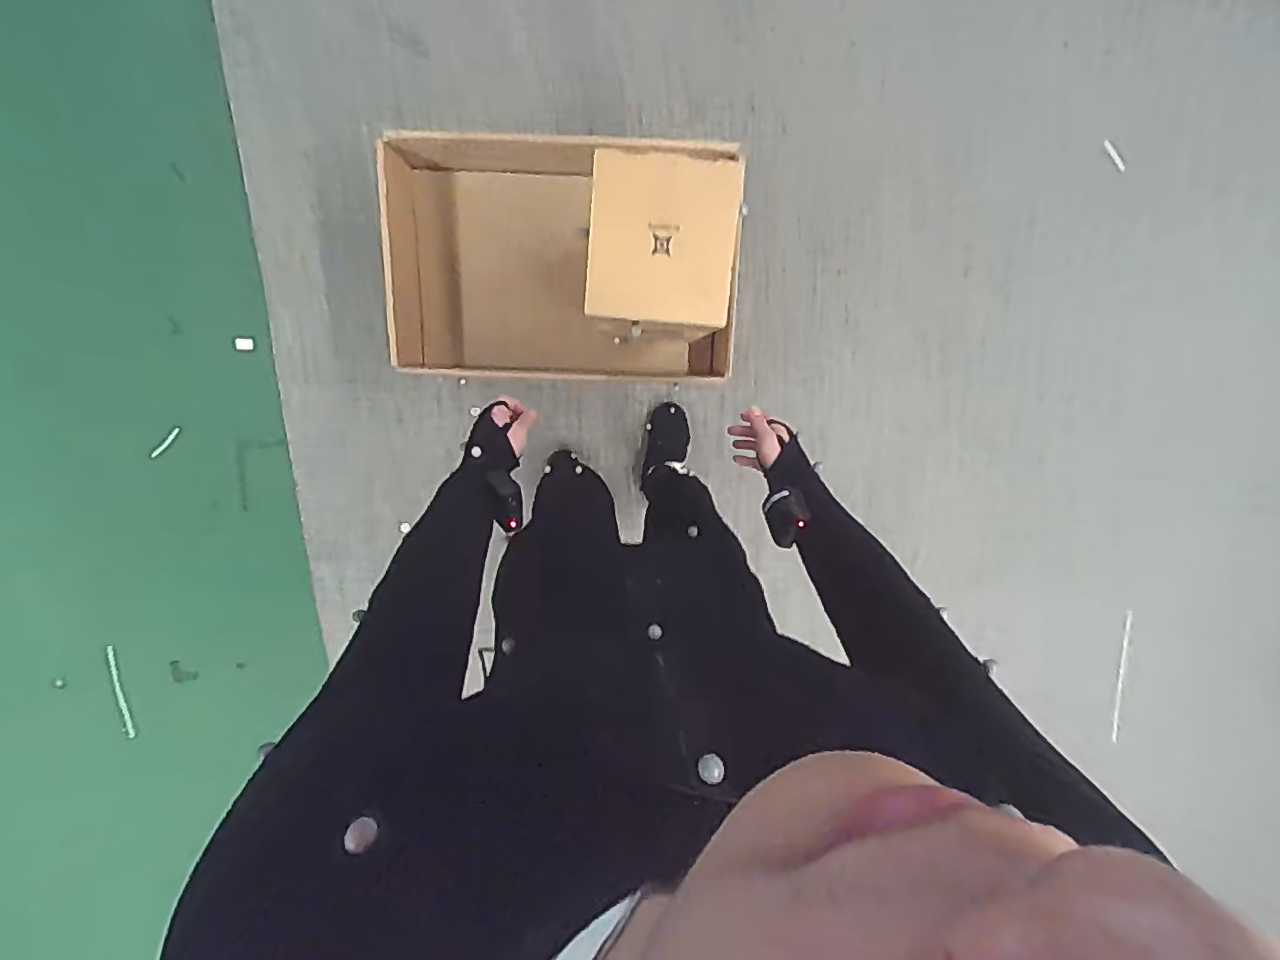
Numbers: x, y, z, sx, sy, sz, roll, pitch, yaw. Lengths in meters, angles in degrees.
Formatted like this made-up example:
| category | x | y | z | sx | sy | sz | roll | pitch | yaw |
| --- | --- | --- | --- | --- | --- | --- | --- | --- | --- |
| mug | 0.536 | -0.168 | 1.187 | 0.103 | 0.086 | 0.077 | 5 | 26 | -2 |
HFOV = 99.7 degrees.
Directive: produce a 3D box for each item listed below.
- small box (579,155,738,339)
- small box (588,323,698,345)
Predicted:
| category | x | y | z | sx | sy | sz | roll | pitch | yaw |
| --- | --- | --- | --- | --- | --- | --- | --- | --- | --- |
| small box | 0.019 | -0.277 | 0.683 | 0.168 | 0.176 | 0.179 | 5 | 101 | -1 |
| small box | 0.013 | -0.308 | 0.842 | 0.168 | 0.176 | 0.179 | 4 | 100 | -2 |
